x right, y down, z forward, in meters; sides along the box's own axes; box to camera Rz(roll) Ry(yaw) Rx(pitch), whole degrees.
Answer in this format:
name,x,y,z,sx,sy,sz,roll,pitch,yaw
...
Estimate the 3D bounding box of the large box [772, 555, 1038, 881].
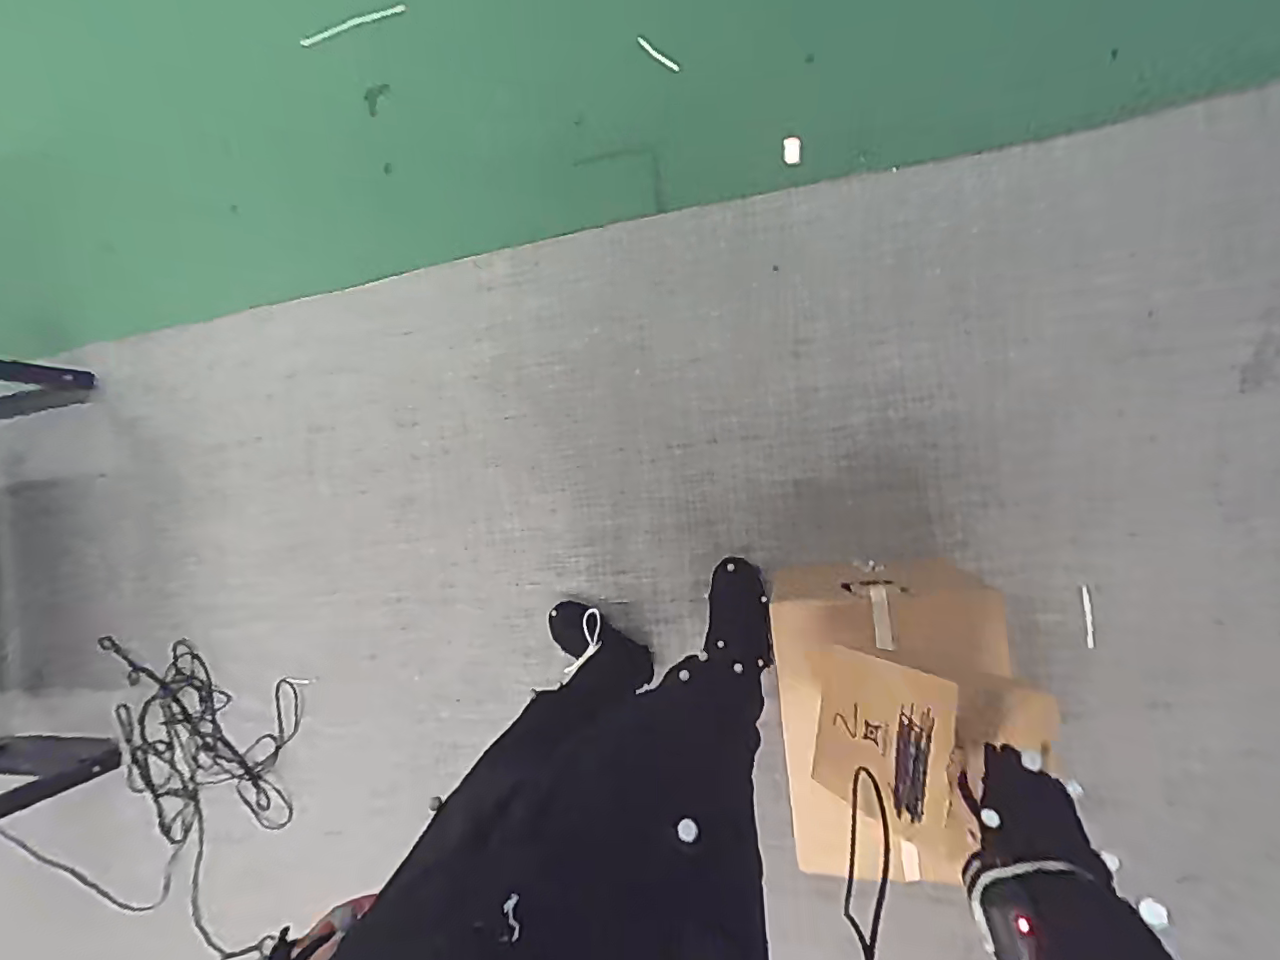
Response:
name,x,y,z,sx,sy,sz,roll,pitch,yaw
large box,0.405,0.359,0.913,0.320,0.320,0.408,-6,90,16
